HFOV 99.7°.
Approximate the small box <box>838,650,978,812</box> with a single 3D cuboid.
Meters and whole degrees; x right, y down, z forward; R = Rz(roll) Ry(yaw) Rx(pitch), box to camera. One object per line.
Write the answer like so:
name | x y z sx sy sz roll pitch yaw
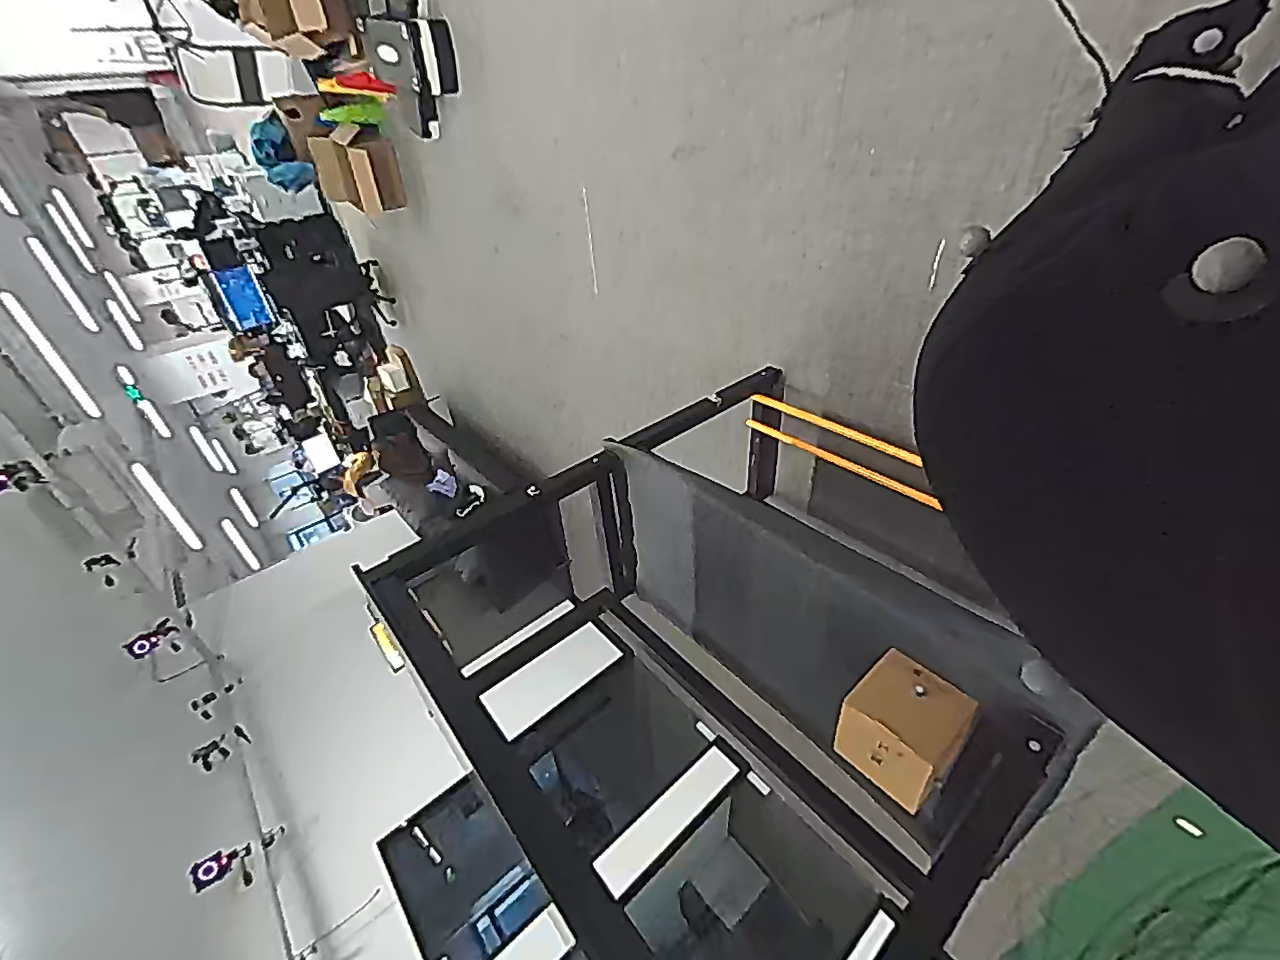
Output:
small box | 0.498 0.461 1.011 0.168 0.176 0.179 31 139 41
